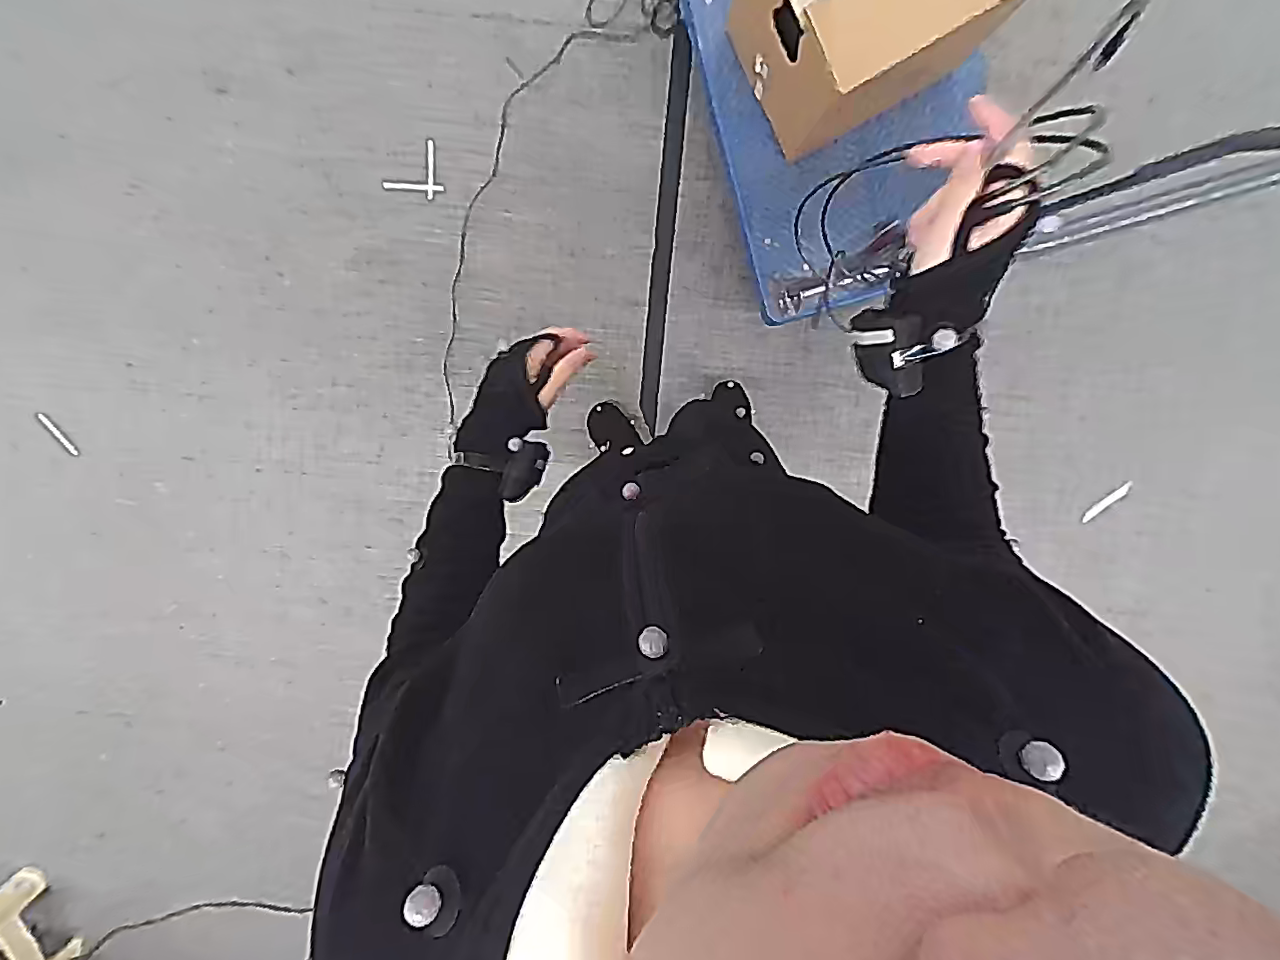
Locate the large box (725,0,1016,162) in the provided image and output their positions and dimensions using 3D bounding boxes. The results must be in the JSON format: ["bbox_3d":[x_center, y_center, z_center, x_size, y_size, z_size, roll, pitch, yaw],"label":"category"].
[{"bbox_3d":[0.423,-0.894,1.007,0.408,0.320,0.320,-28,100,4],"label":"large box"}]
